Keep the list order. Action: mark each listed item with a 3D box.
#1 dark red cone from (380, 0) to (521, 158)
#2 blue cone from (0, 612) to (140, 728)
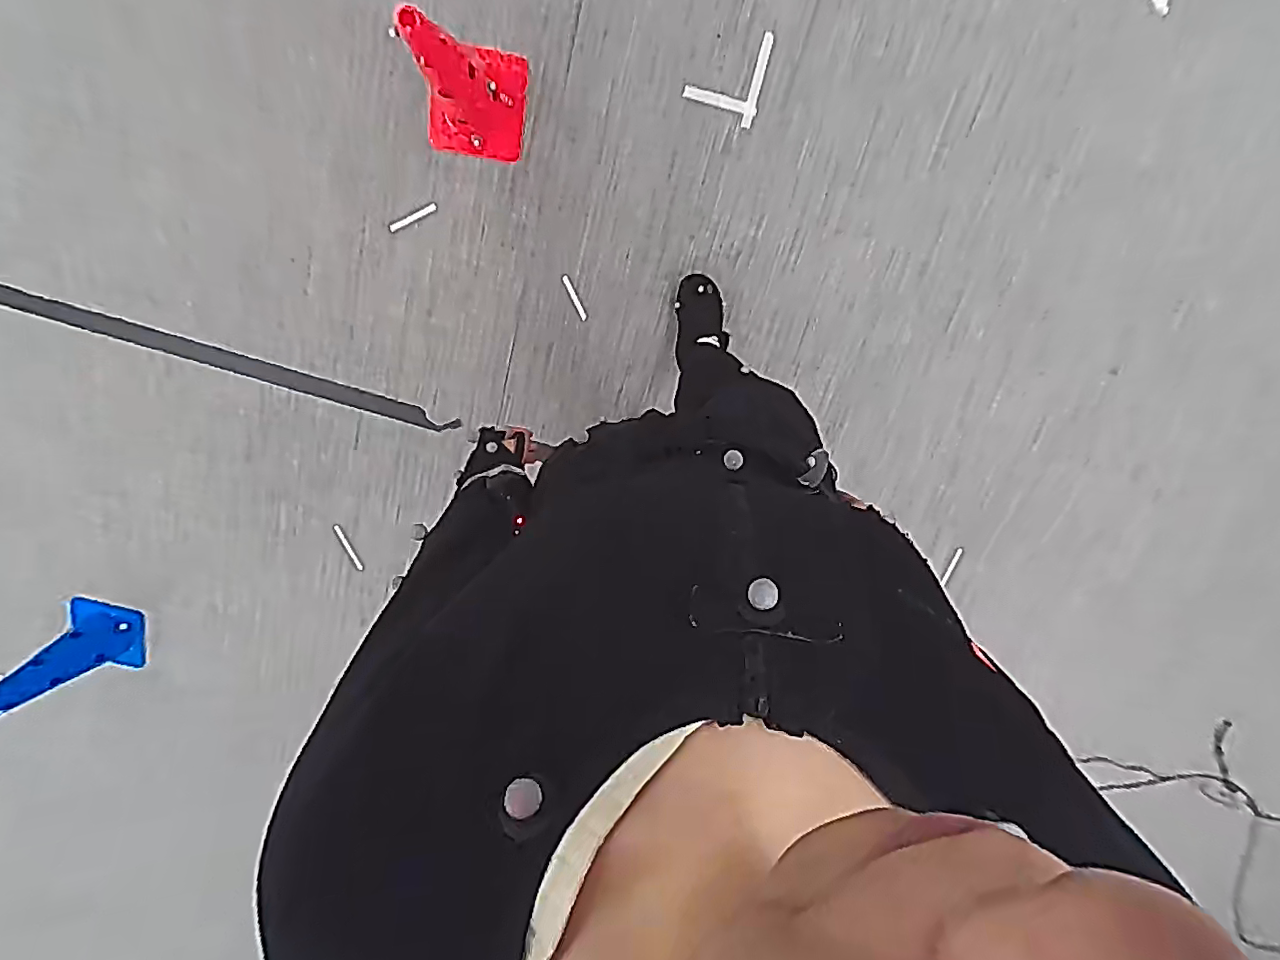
[{"bbox_3d":[-0.350,-0.725,0.947,0.202,0.394,0.201,8,108,-2],"label":"dark red cone"},{"bbox_3d":[-1.521,0.517,1.378,0.193,0.380,0.192,16,108,-5],"label":"blue cone"}]
